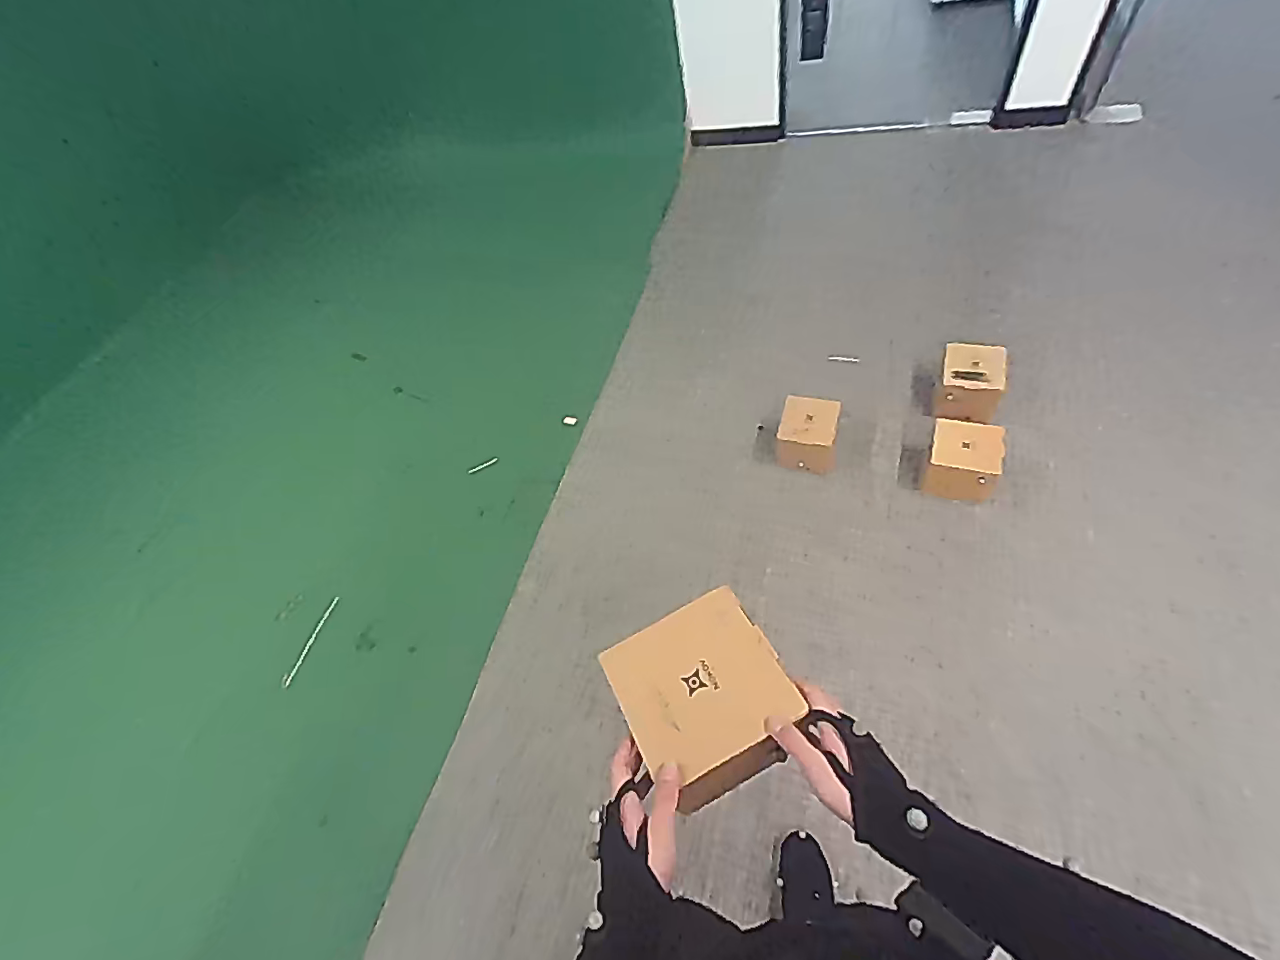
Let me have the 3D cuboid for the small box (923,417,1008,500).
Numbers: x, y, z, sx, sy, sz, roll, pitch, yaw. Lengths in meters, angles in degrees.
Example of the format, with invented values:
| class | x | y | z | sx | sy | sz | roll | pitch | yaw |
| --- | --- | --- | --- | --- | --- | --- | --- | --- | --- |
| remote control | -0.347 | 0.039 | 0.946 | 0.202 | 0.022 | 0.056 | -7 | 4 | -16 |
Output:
| class | x | y | z | sx | sy | sz | roll | pitch | yaw |
| --- | --- | --- | --- | --- | --- | --- | --- | --- | --- |
| small box | 0.939 | -0.060 | 1.572 | 0.179 | 0.176 | 0.168 | 12 | 63 | 20 |

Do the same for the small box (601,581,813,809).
| class | x | y | z | sx | sy | sz | roll | pitch | yaw |
| --- | --- | --- | --- | --- | --- | --- | --- | --- | --- |
| small box | 0.079 | 0.255 | 0.634 | 0.179 | 0.176 | 0.168 | -27 | 51 | -5 |

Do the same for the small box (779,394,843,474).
| class | x | y | z | sx | sy | sz | roll | pitch | yaw |
| --- | --- | --- | --- | --- | --- | --- | --- | --- | --- |
| small box | 0.542 | -0.146 | 1.725 | 0.168 | 0.176 | 0.179 | 11 | 63 | 21 |
